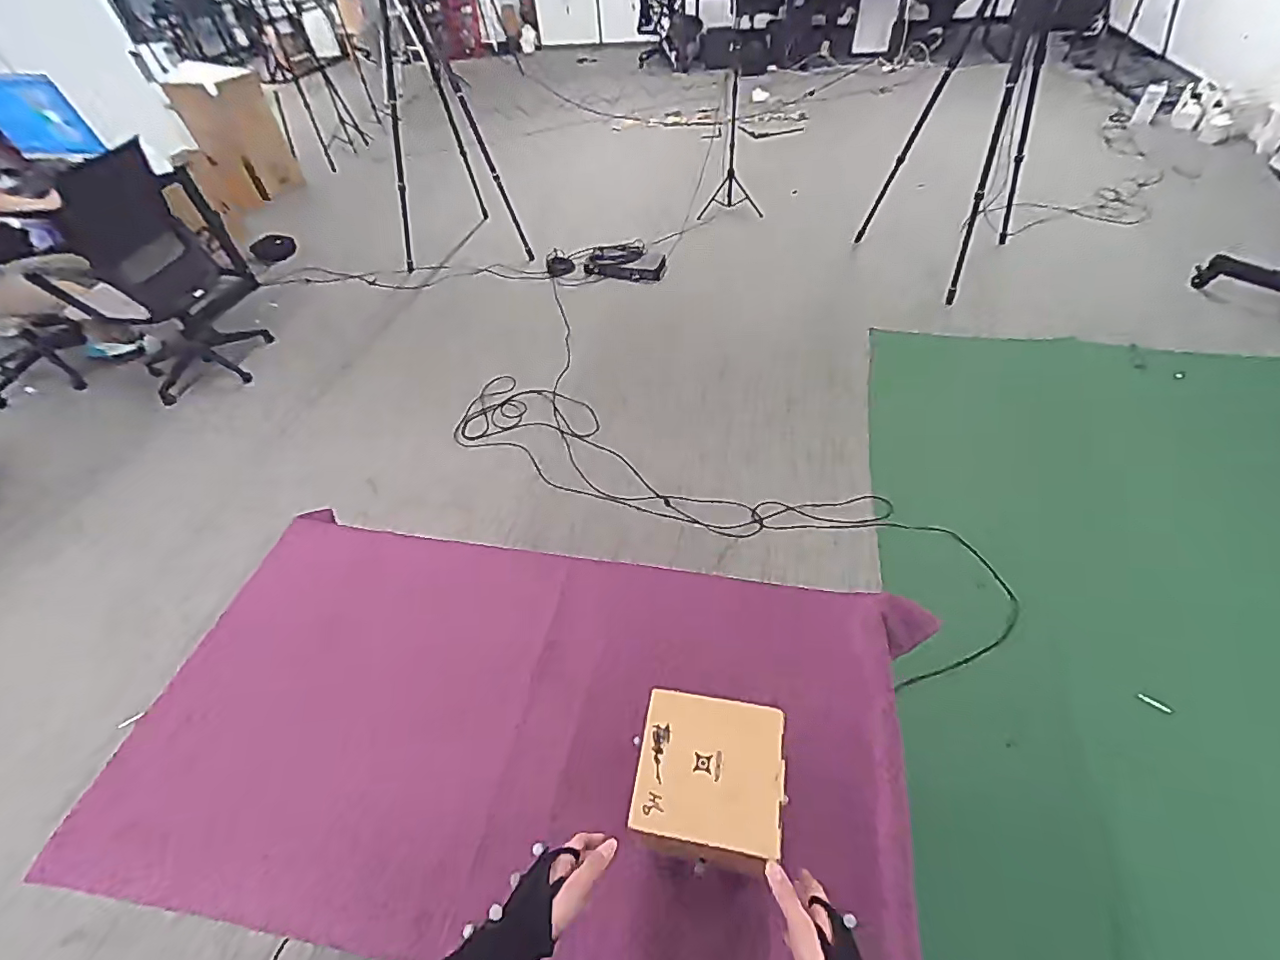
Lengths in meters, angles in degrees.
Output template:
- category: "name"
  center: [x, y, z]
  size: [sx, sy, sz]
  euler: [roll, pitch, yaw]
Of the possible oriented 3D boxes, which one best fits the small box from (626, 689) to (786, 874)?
- category: "small box"
  center: [0.089, 0.401, 0.715]
  size: [0.179, 0.176, 0.168]
  euler: [7, 49, 11]
